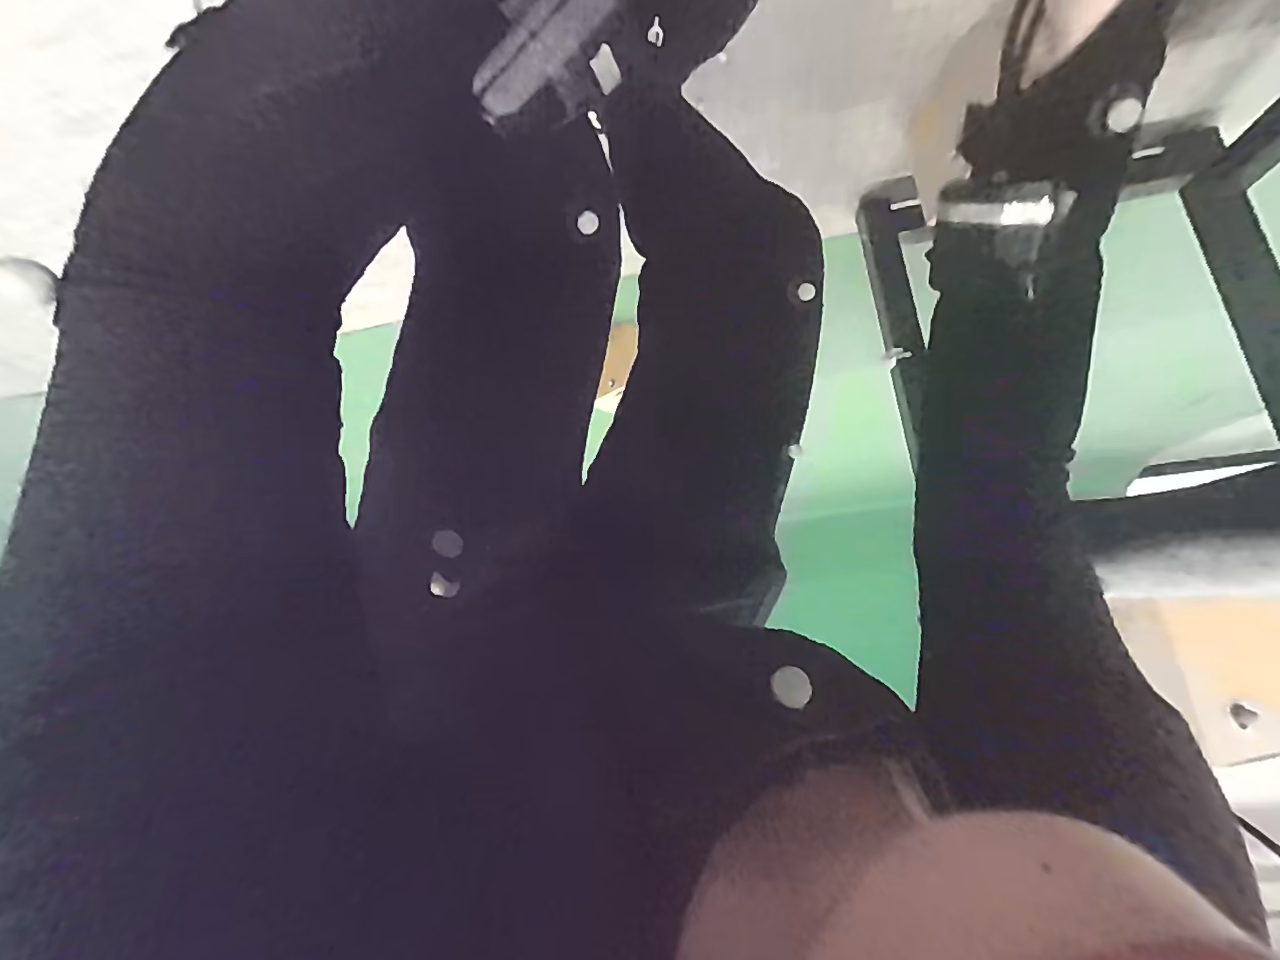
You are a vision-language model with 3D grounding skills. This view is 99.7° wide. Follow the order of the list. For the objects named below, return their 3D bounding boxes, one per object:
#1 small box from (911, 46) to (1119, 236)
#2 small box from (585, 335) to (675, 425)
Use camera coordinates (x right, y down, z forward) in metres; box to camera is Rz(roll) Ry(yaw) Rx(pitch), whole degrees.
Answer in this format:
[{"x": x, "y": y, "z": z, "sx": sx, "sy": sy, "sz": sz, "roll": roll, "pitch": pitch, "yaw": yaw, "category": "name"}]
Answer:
[{"x": 0.523, "y": -0.488, "z": 0.786, "sx": 0.168, "sy": 0.176, "sz": 0.179, "roll": -4, "pitch": 166, "yaw": -3, "category": "small box"}, {"x": -0.028, "y": -0.263, "z": 1.433, "sx": 0.168, "sy": 0.176, "sz": 0.179, "roll": -19, "pitch": 160, "yaw": 40, "category": "small box"}]
